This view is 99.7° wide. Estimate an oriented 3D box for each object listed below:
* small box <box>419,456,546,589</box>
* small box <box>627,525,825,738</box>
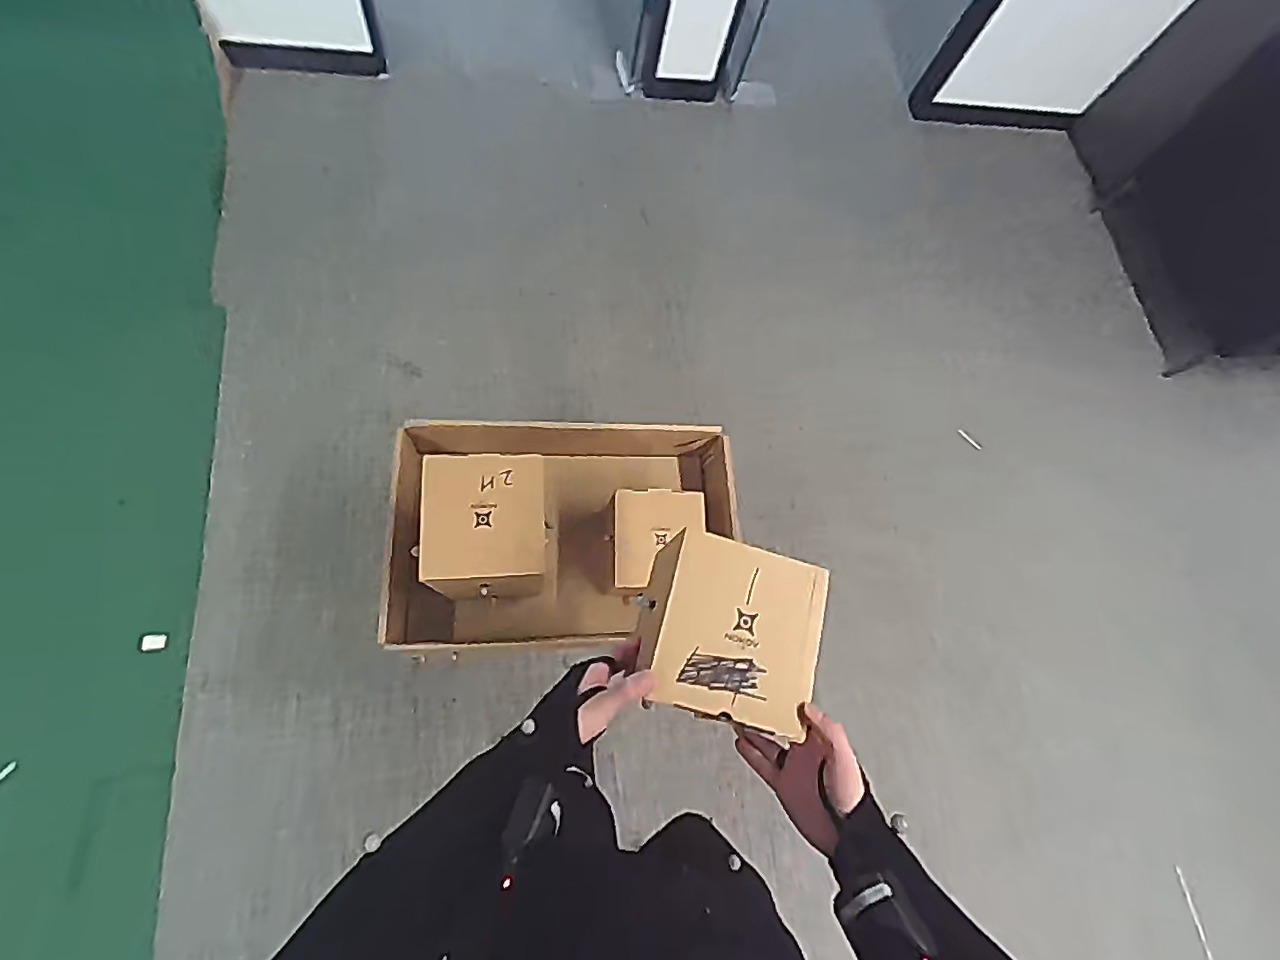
[{"bbox_3d":[-0.227,0.071,0.817,0.168,0.176,0.179,0,74,-11],"label":"small box"},{"bbox_3d":[0.088,0.173,0.622,0.168,0.176,0.179,17,70,-4],"label":"small box"}]
